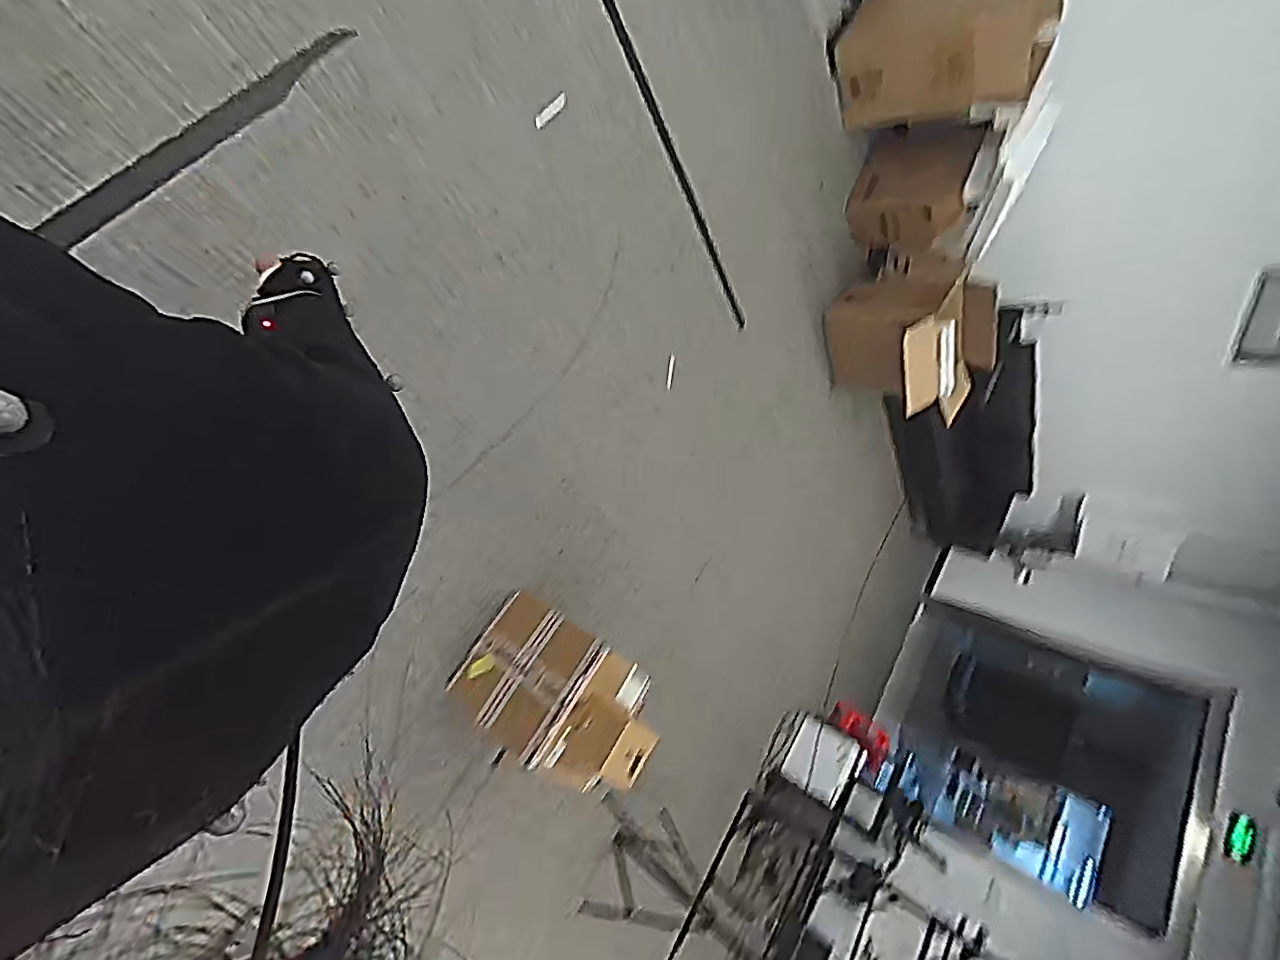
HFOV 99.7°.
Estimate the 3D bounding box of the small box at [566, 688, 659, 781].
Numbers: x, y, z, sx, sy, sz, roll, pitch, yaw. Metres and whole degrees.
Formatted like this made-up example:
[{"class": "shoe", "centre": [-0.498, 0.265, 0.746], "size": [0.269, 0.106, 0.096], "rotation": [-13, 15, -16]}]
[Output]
[{"class": "small box", "centre": [-0.081, 0.739, 1.584], "size": [0.168, 0.176, 0.179], "rotation": [-56, 132, -19]}]
